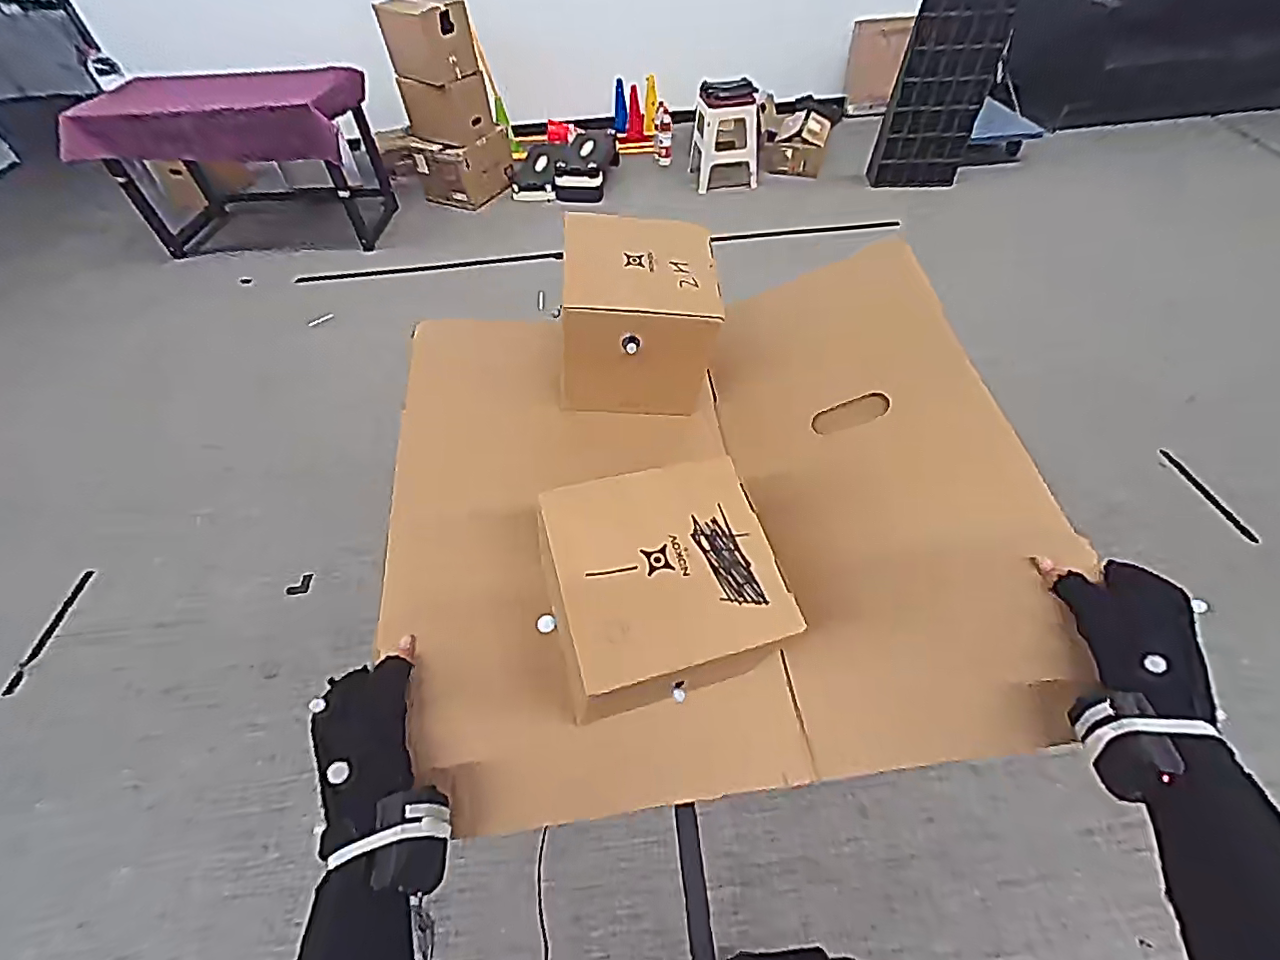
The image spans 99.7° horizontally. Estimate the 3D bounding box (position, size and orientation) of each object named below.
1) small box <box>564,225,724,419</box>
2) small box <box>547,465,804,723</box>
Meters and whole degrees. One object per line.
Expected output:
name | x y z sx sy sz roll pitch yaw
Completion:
small box | -0.006 -0.192 0.685 0.179 0.176 0.168 2 59 -8
small box | 0.015 0.110 0.503 0.179 0.176 0.168 -12 61 -14
